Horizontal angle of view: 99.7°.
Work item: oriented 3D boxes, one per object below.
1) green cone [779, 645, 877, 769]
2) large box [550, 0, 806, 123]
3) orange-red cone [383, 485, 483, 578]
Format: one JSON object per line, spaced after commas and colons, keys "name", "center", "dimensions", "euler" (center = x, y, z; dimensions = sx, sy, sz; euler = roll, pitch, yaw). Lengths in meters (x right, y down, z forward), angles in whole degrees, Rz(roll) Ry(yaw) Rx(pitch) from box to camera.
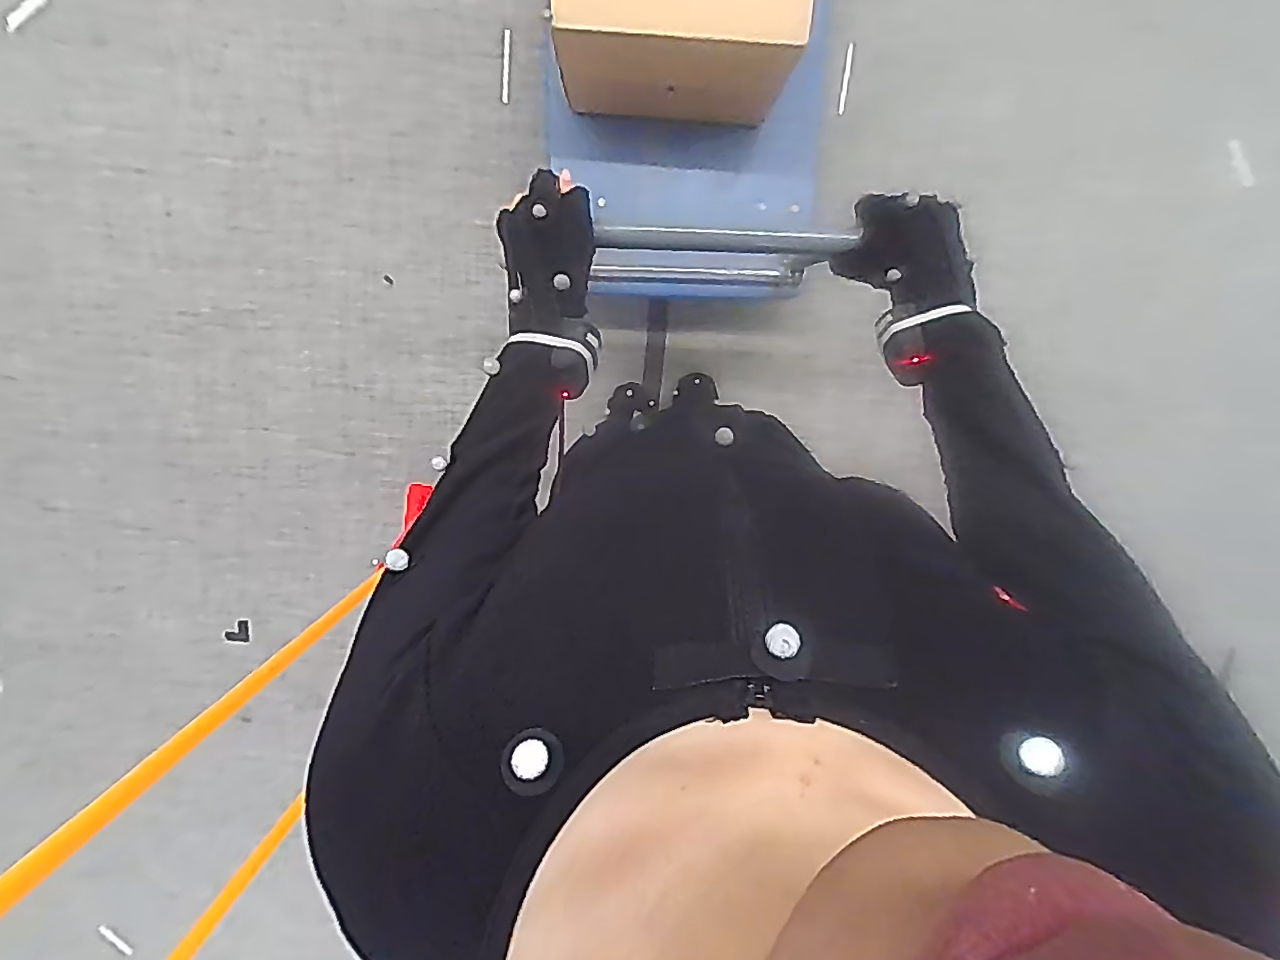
{"name": "green cone", "center": [0.531, 0.631, 1.450], "dimensions": [0.202, 0.368, 0.200], "euler": [8, 102, -4]}
{"name": "large box", "center": [0.064, -0.870, 0.961], "dimensions": [0.408, 0.320, 0.320], "euler": [3, 103, -1]}
{"name": "orange-red cone", "center": [-0.542, 0.156, 1.336], "dimensions": [0.198, 0.360, 0.199], "euler": [12, 101, -4]}
